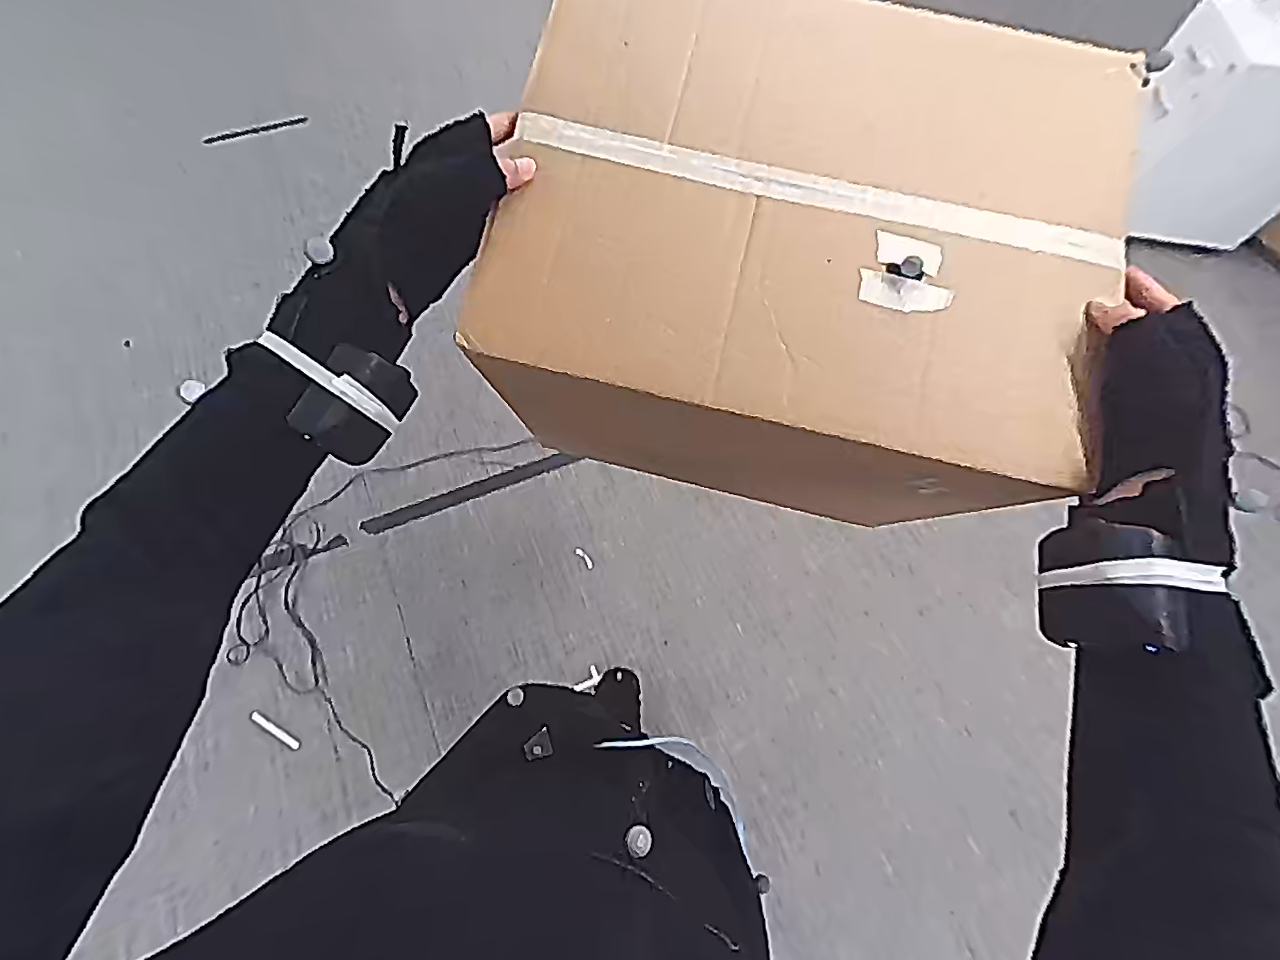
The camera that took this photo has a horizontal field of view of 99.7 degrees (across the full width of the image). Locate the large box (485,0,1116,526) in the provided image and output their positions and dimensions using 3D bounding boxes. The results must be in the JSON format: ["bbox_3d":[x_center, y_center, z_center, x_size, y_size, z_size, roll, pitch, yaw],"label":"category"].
[{"bbox_3d":[0.117,-0.155,0.522,0.408,0.320,0.320,14,82,1],"label":"large box"}]
